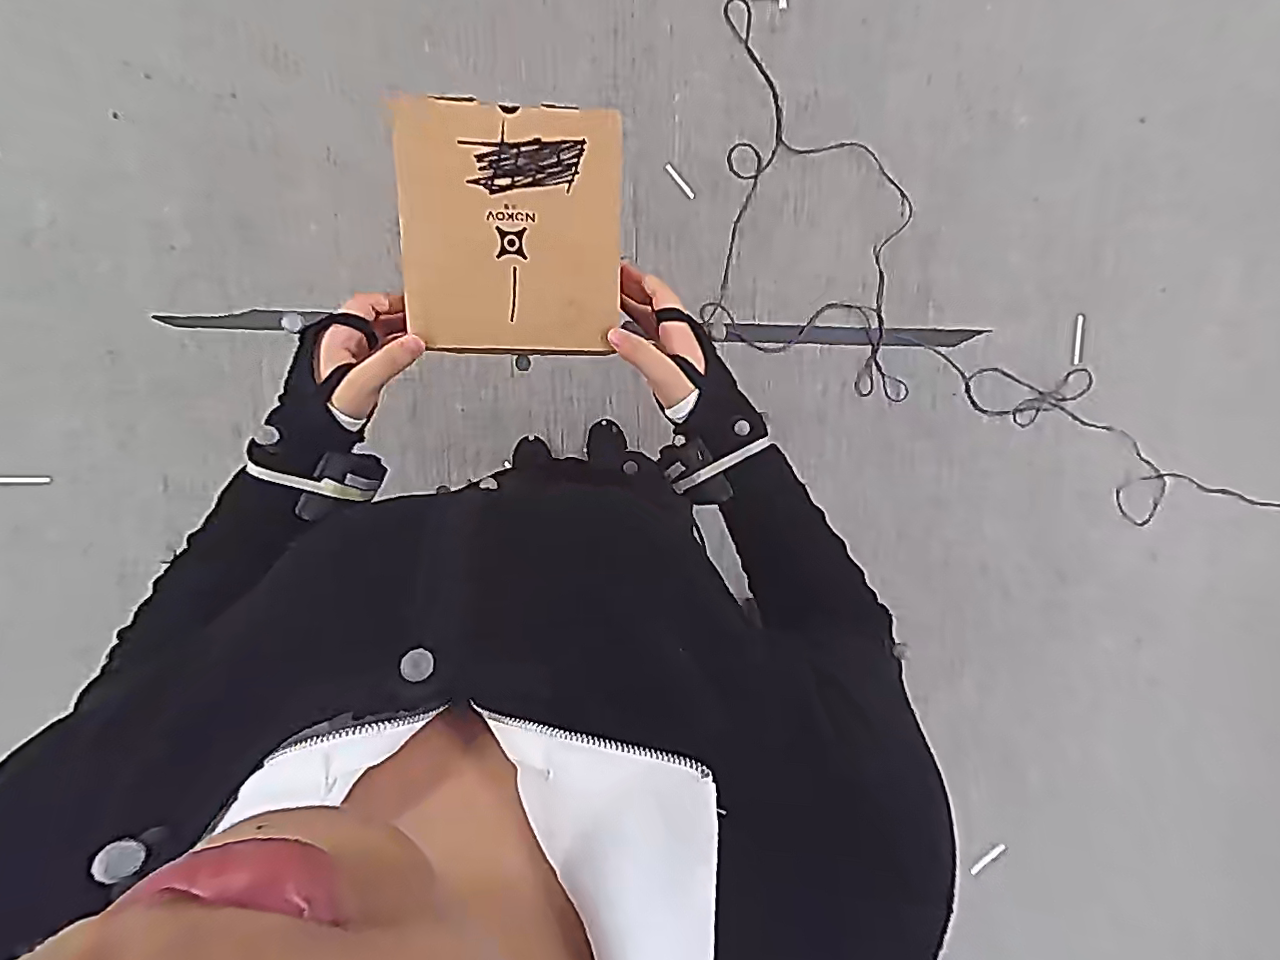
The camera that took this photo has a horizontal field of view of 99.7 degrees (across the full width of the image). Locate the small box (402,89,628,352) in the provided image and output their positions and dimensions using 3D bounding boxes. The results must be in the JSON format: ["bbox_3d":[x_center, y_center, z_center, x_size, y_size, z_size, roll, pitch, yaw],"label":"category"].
[{"bbox_3d":[-0.101,-0.210,0.488,0.168,0.176,0.179,-1,102,-6],"label":"small box"}]
